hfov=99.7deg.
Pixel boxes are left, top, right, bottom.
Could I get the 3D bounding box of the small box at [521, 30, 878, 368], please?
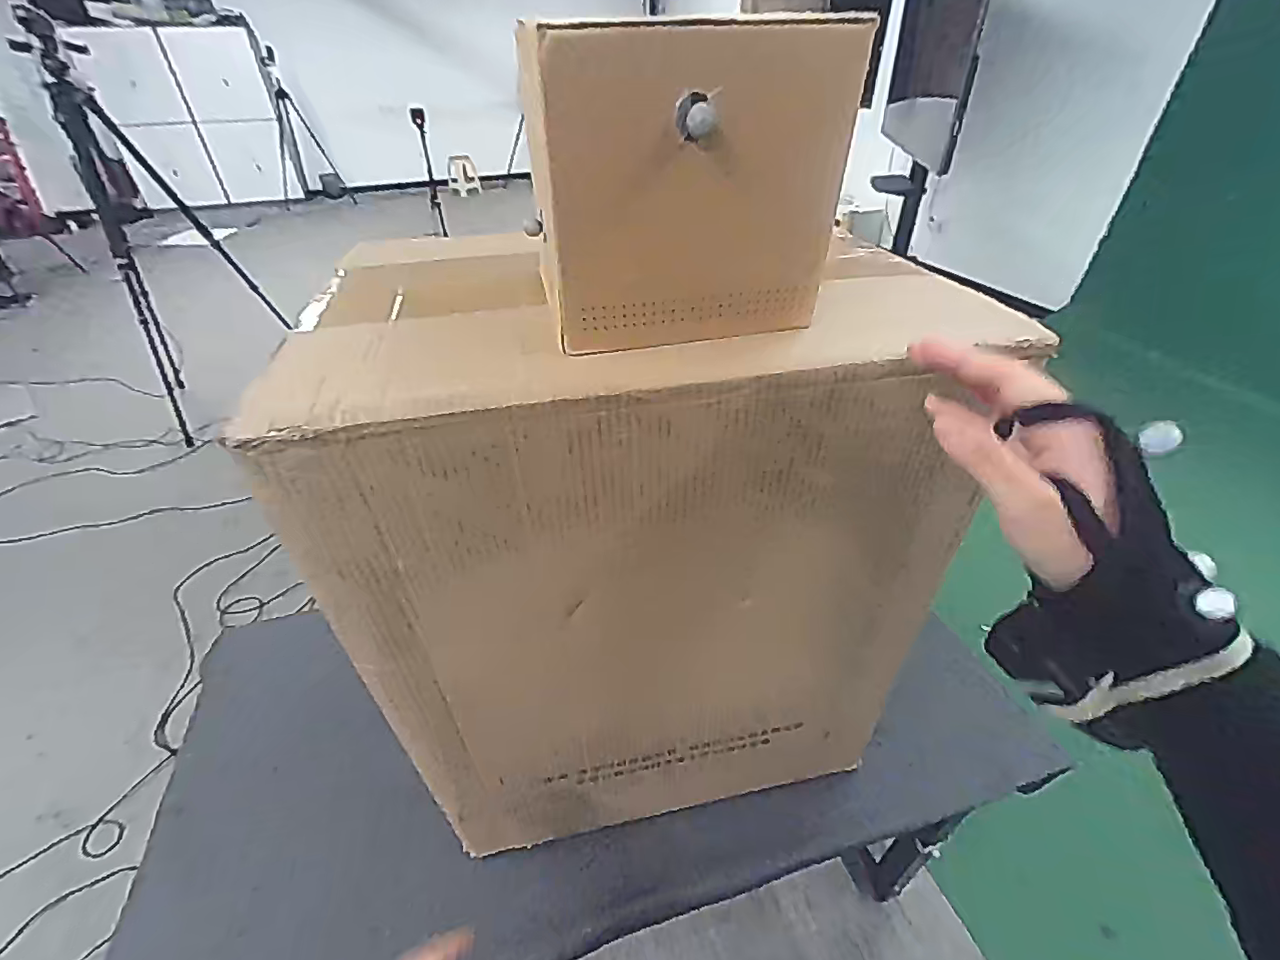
[{"bbox_3d":[0.021,-0.194,0.370,0.179,0.176,0.168,-9,41,-10],"label":"small box"}]
